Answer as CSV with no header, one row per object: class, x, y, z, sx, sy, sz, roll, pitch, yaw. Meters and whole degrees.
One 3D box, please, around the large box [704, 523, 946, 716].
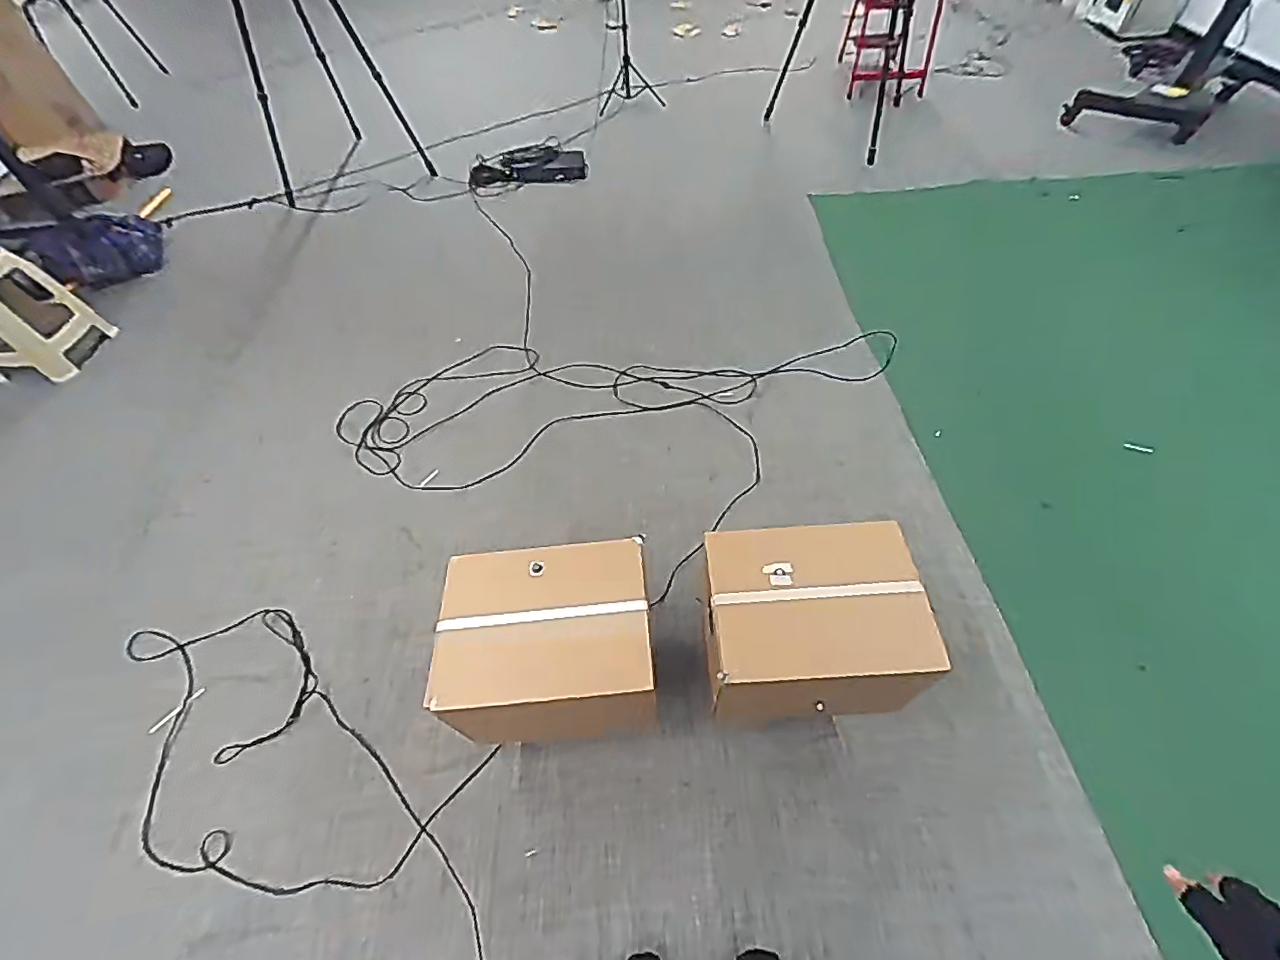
large box,0.359,0.314,1.180,0.408,0.320,0.320,-4,54,2
